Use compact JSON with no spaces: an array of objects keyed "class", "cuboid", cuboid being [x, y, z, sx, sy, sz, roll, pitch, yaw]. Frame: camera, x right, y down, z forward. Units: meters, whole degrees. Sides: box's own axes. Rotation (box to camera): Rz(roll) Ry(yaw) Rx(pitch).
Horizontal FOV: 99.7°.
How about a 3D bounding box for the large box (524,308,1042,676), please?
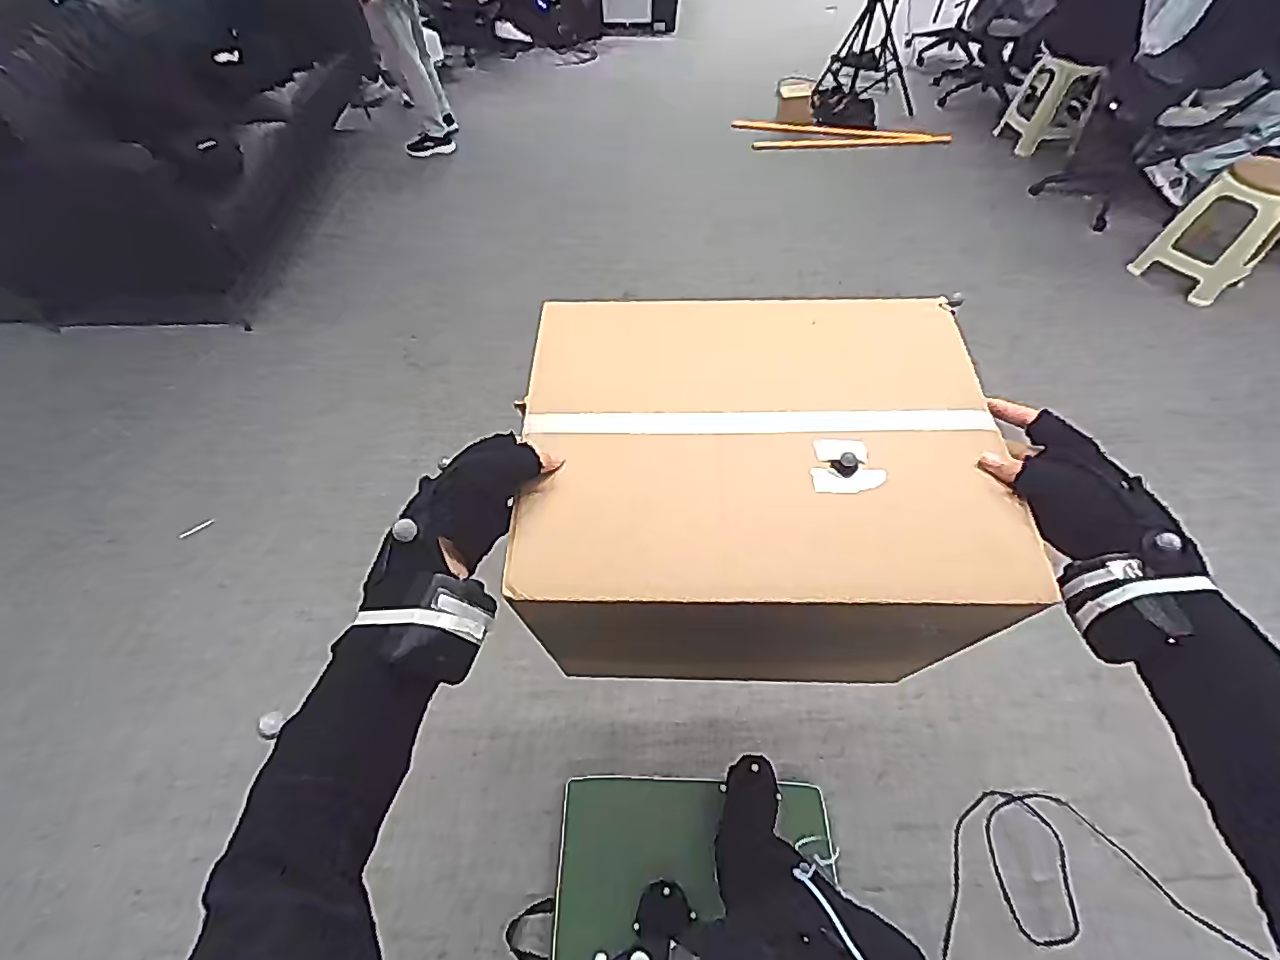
[{"class":"large box","cuboid":[0.108,0.030,0.612,0.408,0.320,0.320,0,60,1]}]
